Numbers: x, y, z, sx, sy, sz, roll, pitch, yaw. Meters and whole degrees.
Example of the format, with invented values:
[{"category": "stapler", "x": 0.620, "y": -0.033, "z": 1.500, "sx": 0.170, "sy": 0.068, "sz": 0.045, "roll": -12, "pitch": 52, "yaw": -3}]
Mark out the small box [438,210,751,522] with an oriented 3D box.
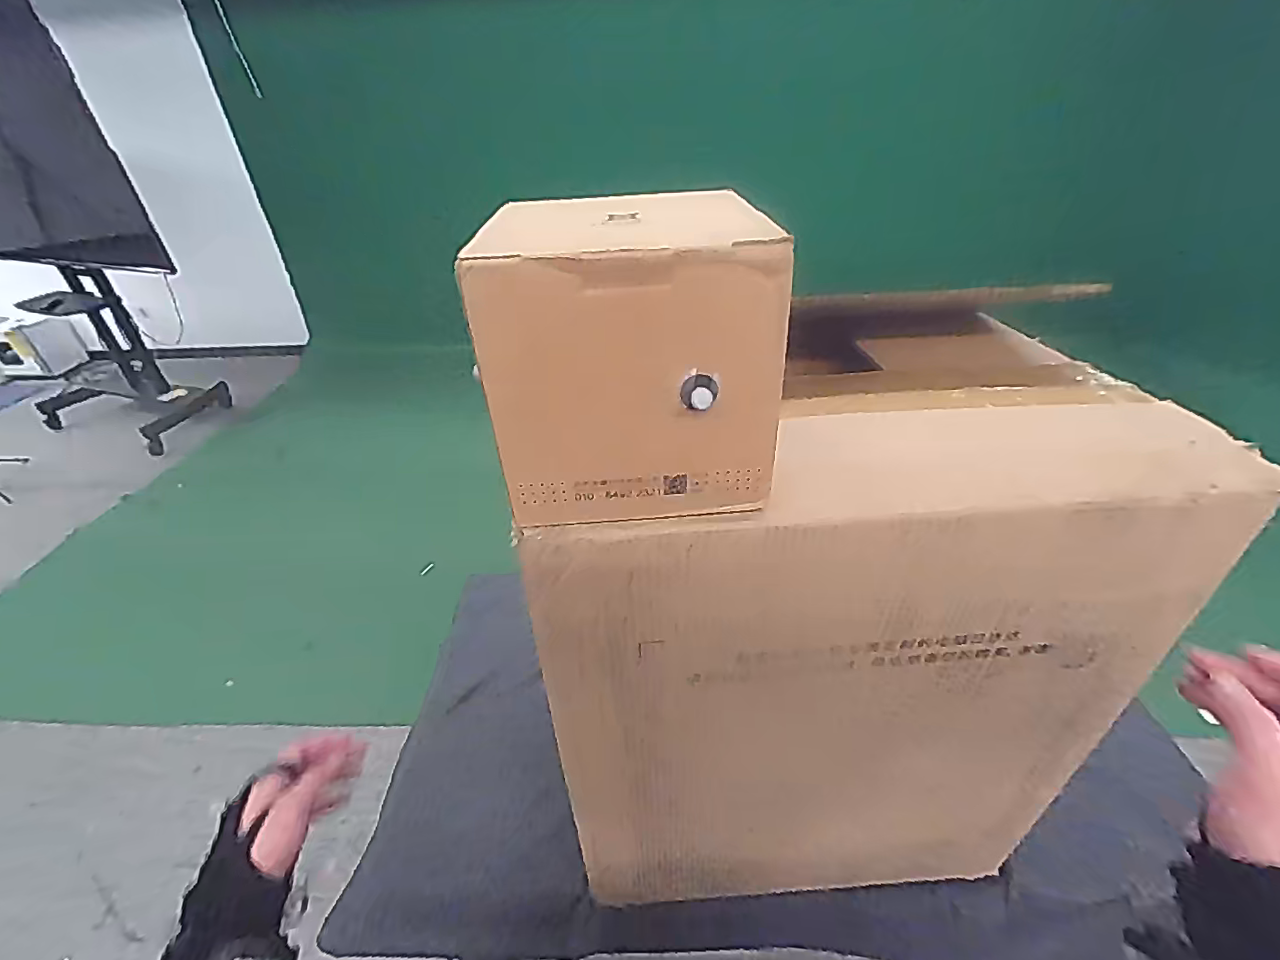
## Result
[{"category": "small box", "x": -0.020, "y": -0.081, "z": 0.385, "sx": 0.168, "sy": 0.176, "sz": 0.179, "roll": -4, "pitch": 34, "yaw": 0}]
